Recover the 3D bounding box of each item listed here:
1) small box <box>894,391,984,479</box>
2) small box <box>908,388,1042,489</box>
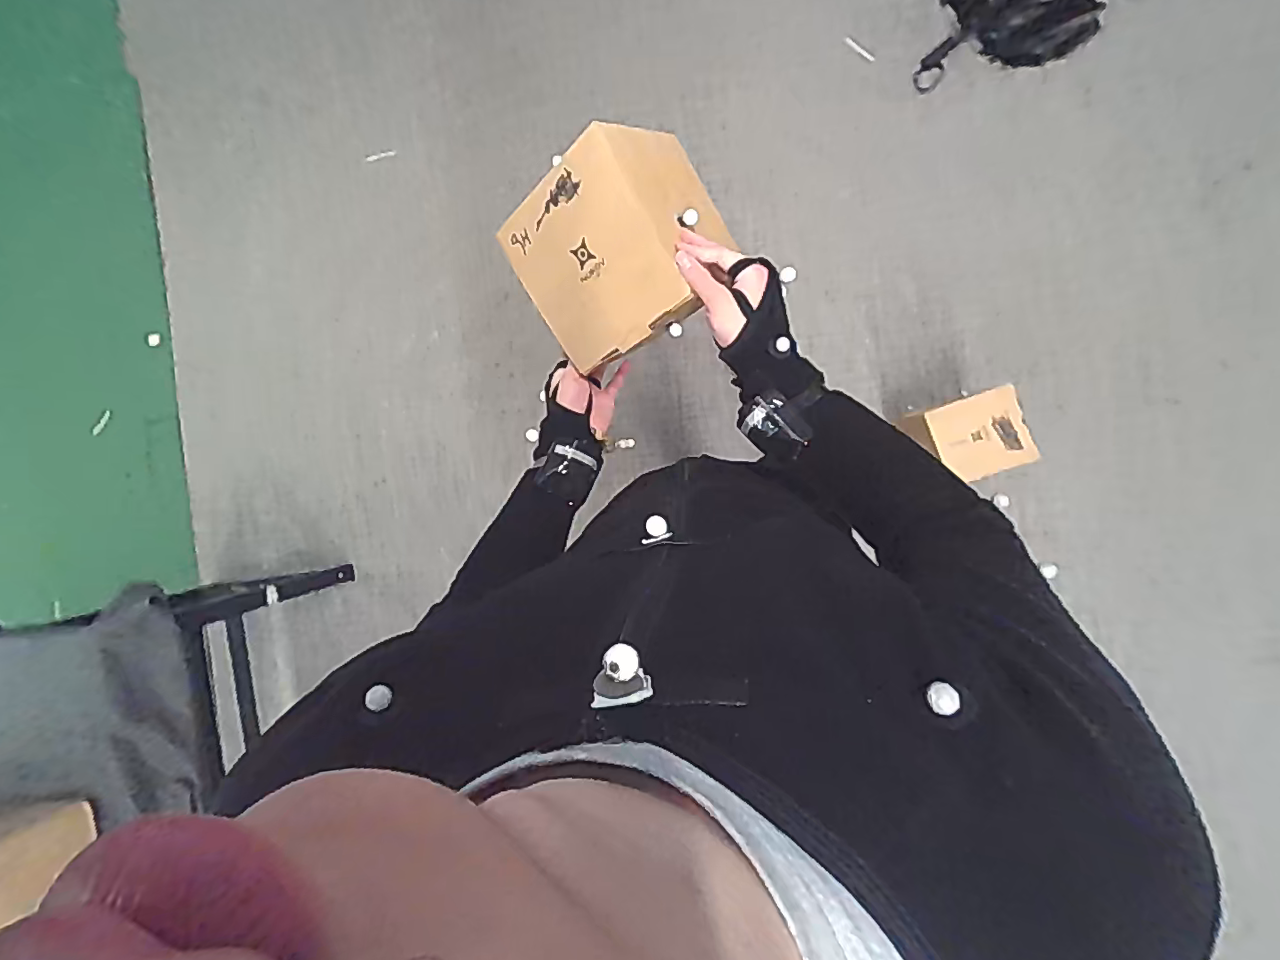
[{"bbox_3d":[0.748,-0.103,1.330,0.179,0.176,0.168,-20,89,11],"label":"small box"},{"bbox_3d":[0.713,-0.088,1.170,0.179,0.176,0.168,-19,89,13],"label":"small box"}]
